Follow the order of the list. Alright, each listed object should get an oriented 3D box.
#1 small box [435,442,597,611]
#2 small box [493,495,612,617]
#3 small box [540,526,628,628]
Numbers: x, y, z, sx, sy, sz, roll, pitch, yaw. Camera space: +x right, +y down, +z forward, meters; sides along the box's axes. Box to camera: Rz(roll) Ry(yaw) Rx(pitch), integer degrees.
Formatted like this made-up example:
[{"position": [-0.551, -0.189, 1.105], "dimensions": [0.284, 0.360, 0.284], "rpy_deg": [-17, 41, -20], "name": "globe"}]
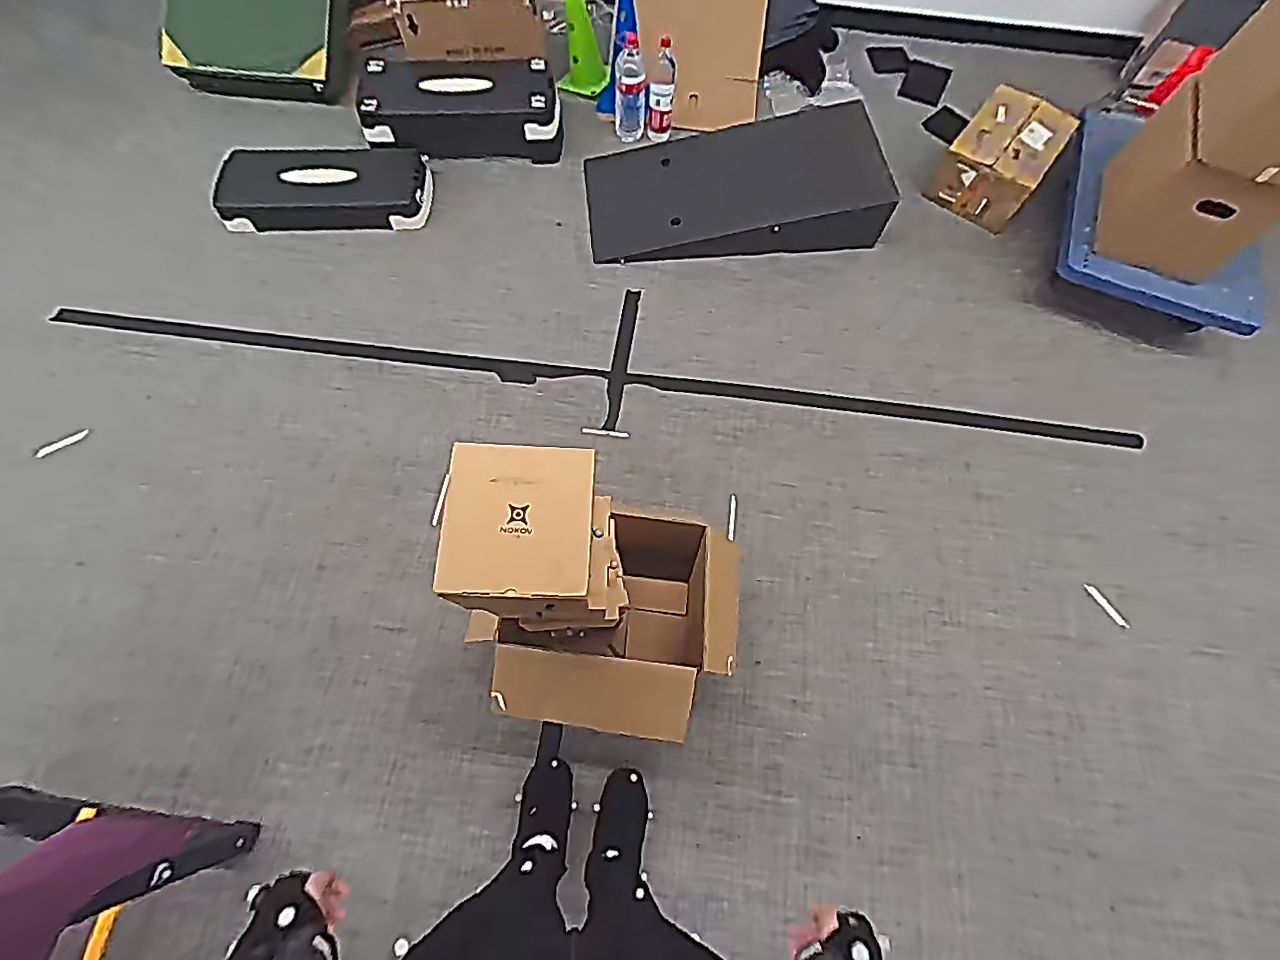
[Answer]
[{"position": [-0.141, 0.068, 0.679], "dimensions": [0.168, 0.176, 0.179], "rpy_deg": [4, 71, -4], "name": "small box"}, {"position": [-0.135, 0.122, 0.834], "dimensions": [0.179, 0.176, 0.168], "rpy_deg": [2, 72, -4], "name": "small box"}, {"position": [-0.129, 0.211, 1.152], "dimensions": [0.179, 0.176, 0.168], "rpy_deg": [-11, 72, -9], "name": "small box"}]
